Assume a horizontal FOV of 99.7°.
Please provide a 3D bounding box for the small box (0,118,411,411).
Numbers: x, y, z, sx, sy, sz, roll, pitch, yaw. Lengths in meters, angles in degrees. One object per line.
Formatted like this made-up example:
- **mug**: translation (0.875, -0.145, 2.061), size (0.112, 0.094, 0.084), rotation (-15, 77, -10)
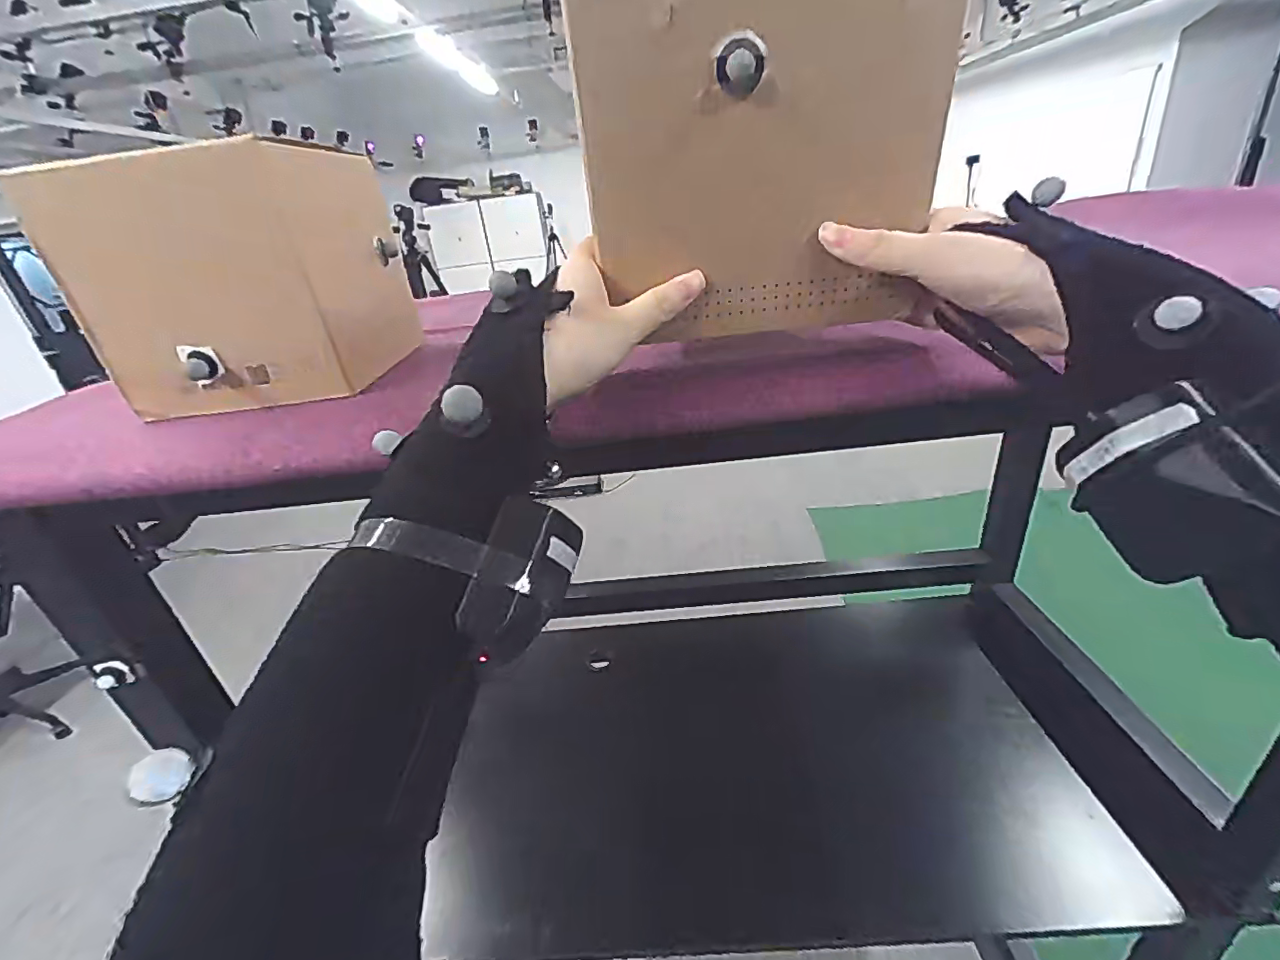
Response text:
- **small box**: translation (-0.305, -0.167, 0.429), size (0.168, 0.176, 0.179), rotation (-9, 29, 1)

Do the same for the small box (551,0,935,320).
- **small box**: translation (0.053, -0.204, 0.327), size (0.179, 0.176, 0.168), rotation (-5, 33, 2)
